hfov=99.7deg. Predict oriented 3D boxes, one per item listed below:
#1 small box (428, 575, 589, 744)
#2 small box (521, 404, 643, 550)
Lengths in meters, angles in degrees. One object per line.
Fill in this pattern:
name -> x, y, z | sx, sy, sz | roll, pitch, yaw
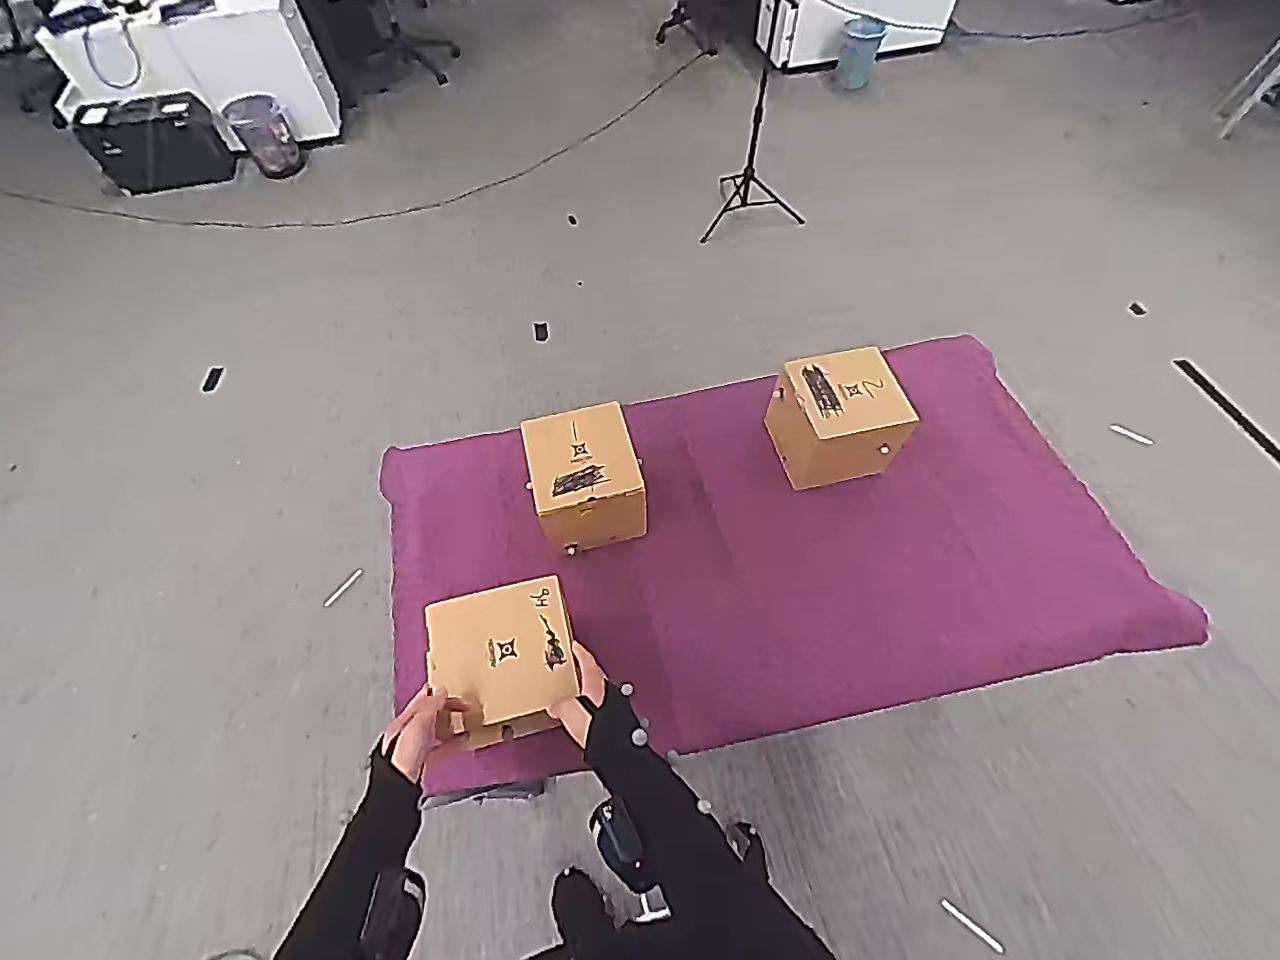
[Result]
small box -> -0.175, 0.254, 0.748 | 0.179, 0.176, 0.168 | -12, 61, -8
small box -> -0.092, 0.004, 0.911 | 0.168, 0.176, 0.179 | -13, 60, -7
